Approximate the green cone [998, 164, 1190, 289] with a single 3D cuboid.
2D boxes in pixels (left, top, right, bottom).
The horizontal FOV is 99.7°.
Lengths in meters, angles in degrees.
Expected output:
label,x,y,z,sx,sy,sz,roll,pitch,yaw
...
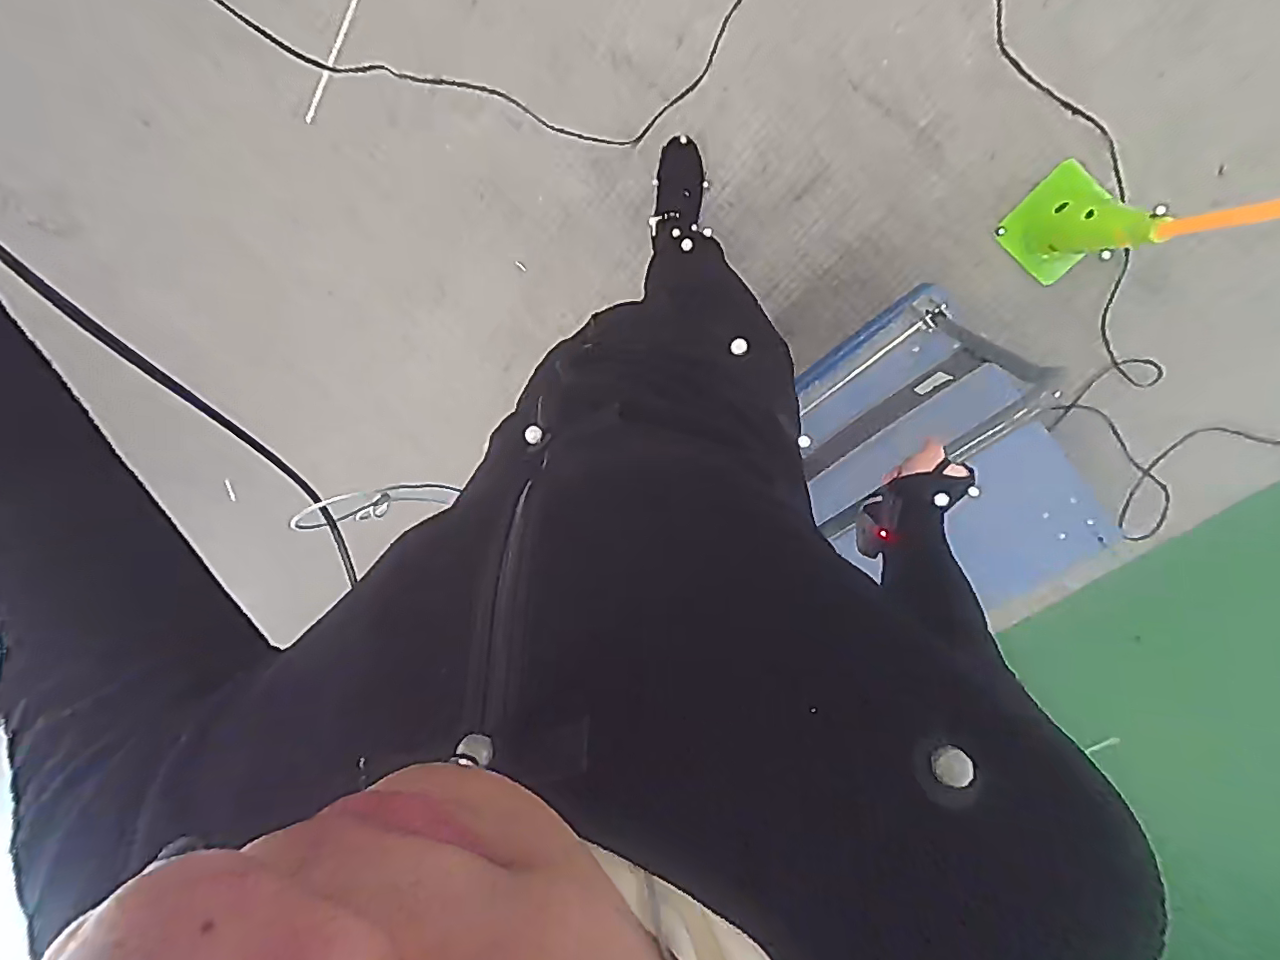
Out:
label,x,y,z,sx,sy,sz,roll,pitch,yaw
green cone,0.933,-0.496,1.077,0.200,0.368,0.202,37,116,-10
